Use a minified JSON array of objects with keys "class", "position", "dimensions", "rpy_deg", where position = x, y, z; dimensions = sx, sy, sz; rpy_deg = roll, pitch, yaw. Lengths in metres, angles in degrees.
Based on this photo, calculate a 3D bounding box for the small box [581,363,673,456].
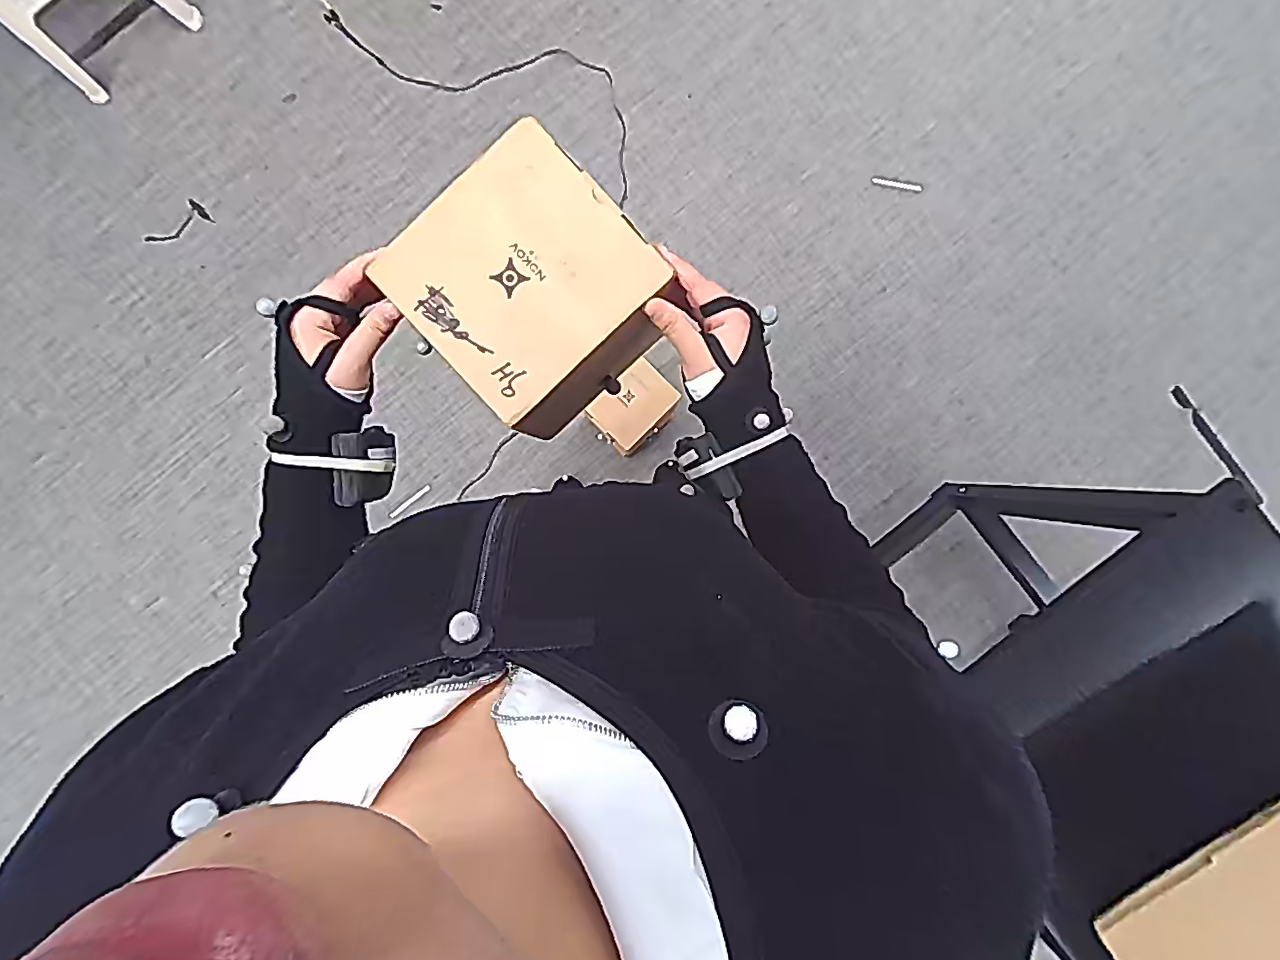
[{"class":"small box","position":[-0.034,-0.178,1.425],"dimensions":[0.179,0.176,0.168],"rpy_deg":[-42,90,1]}]
